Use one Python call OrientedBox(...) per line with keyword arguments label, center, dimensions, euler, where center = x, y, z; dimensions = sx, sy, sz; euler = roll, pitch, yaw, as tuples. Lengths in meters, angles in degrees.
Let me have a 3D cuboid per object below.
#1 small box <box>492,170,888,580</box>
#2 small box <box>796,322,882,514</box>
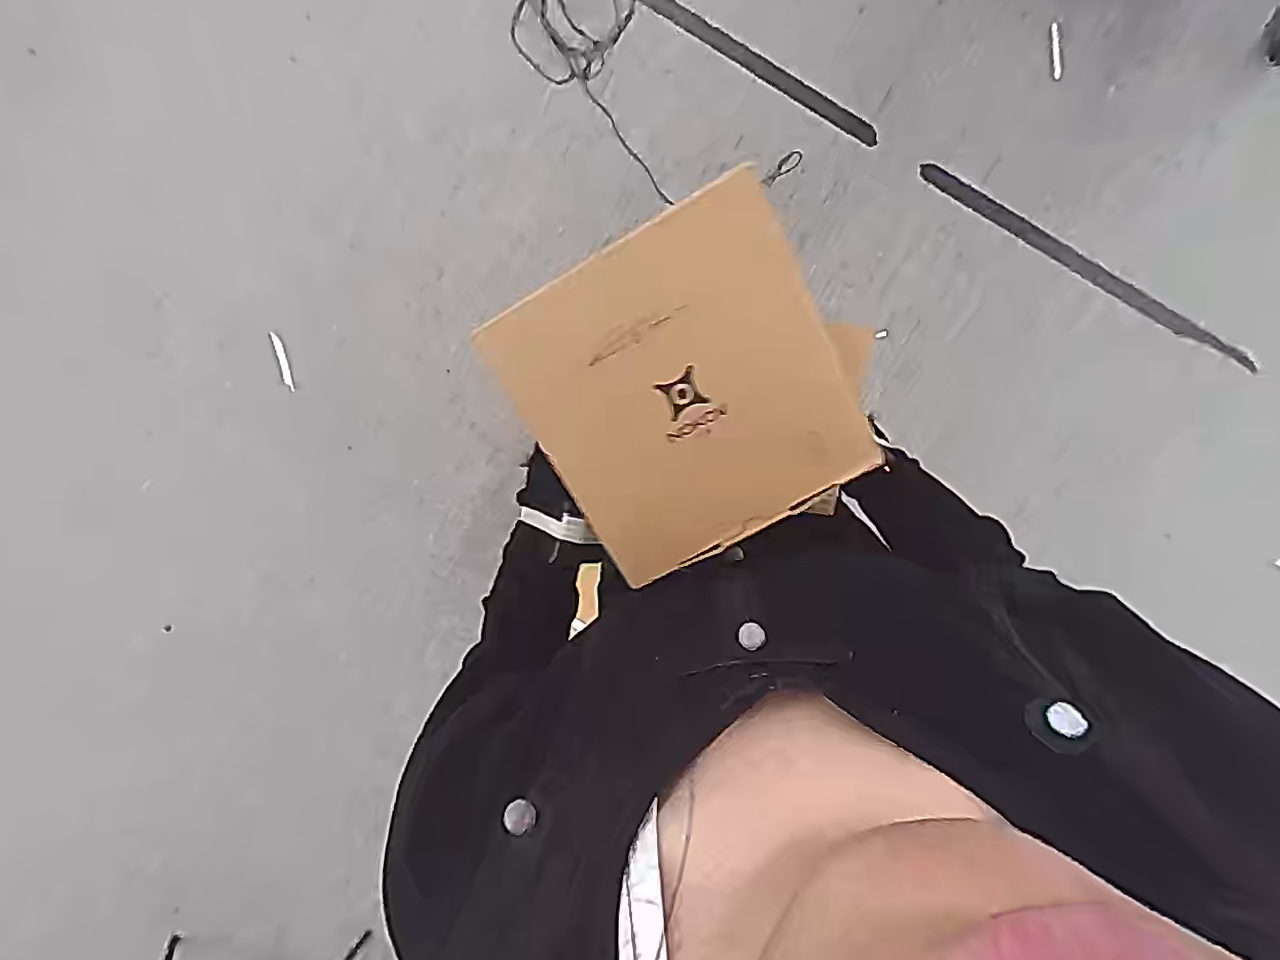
OrientedBox(label="small box", center=(0.032, -0.068, 0.375), dimensions=(0.168, 0.176, 0.179), euler=(-29, 103, 7))
OrientedBox(label="small box", center=(0.102, -0.081, 0.540), dimensions=(0.179, 0.176, 0.168), euler=(9, 106, -3))
